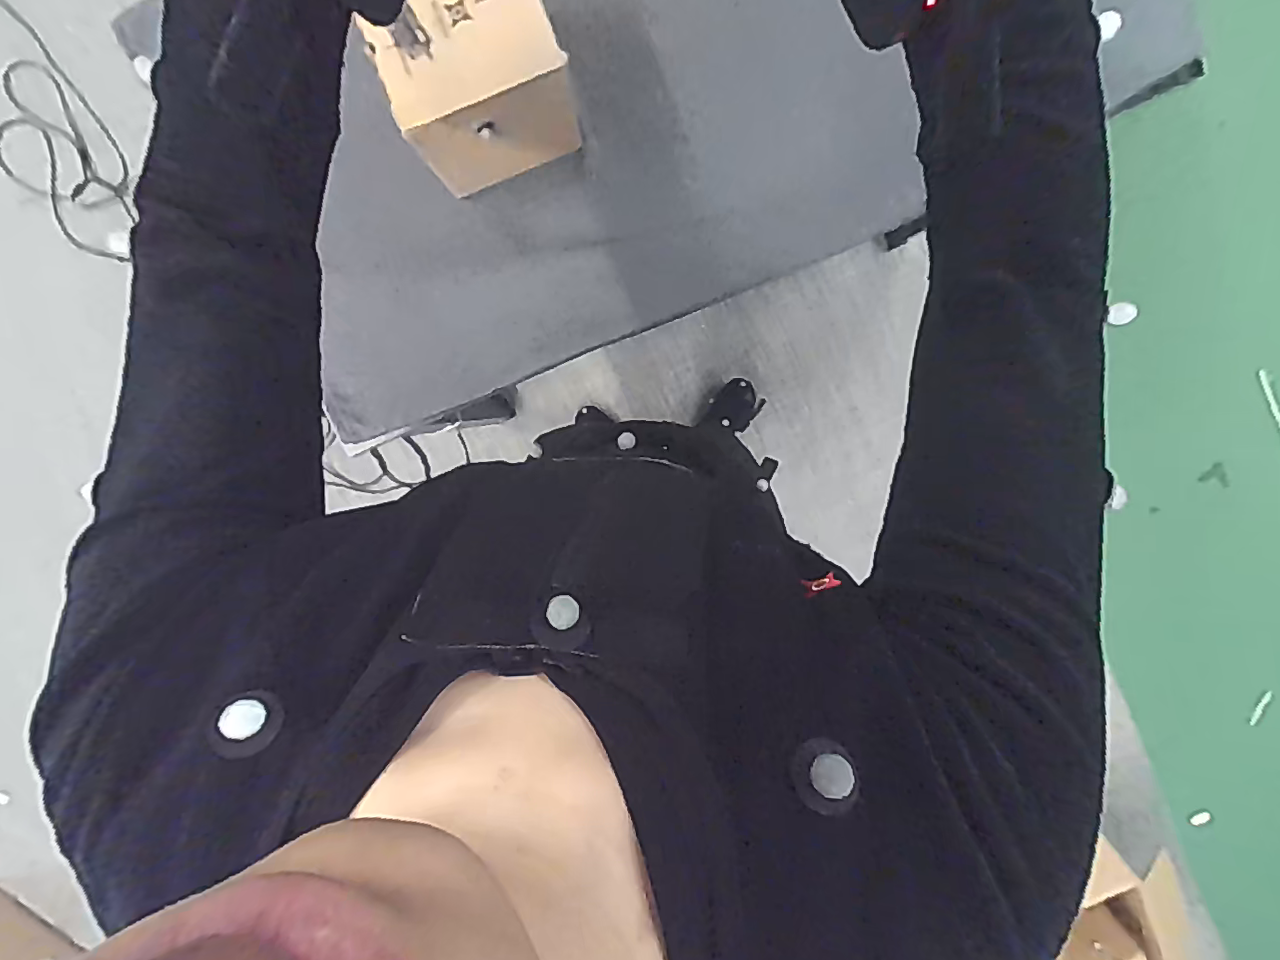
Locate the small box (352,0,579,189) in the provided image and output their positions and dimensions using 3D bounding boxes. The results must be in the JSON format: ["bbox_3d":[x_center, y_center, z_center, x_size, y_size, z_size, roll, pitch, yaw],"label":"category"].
[{"bbox_3d":[-0.182,-0.463,0.605,0.179,0.176,0.168,-22,97,2],"label":"small box"}]

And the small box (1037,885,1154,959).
[{"bbox_3d":[1.157,1.190,1.374,0.179,0.176,0.168,-23,97,3],"label":"small box"}]
